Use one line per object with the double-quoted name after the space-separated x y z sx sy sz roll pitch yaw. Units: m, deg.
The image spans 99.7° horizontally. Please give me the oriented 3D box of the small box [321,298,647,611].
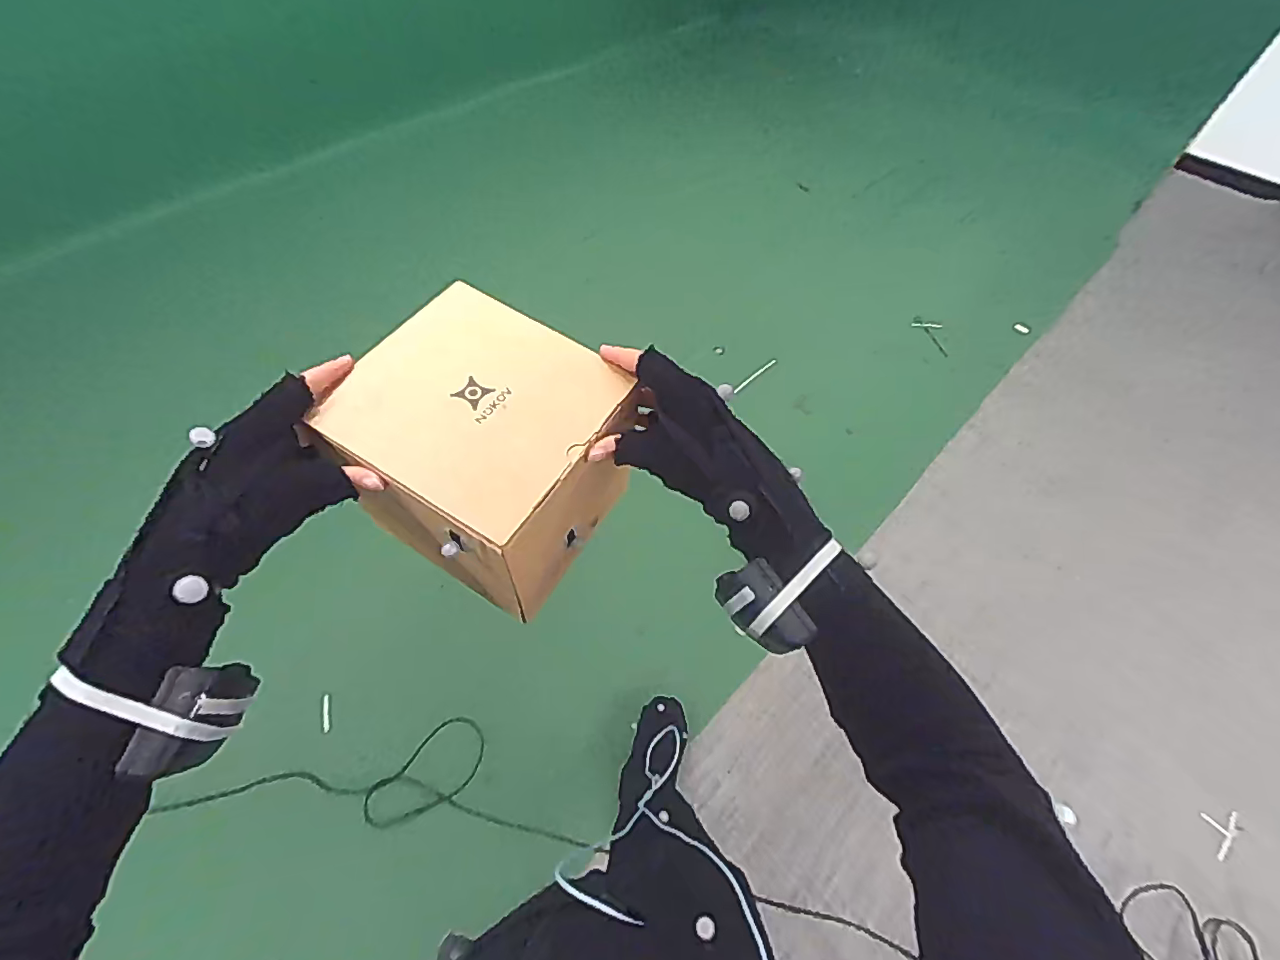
-0.117 -0.013 0.463 0.179 0.176 0.168 30 61 10 "small box"
